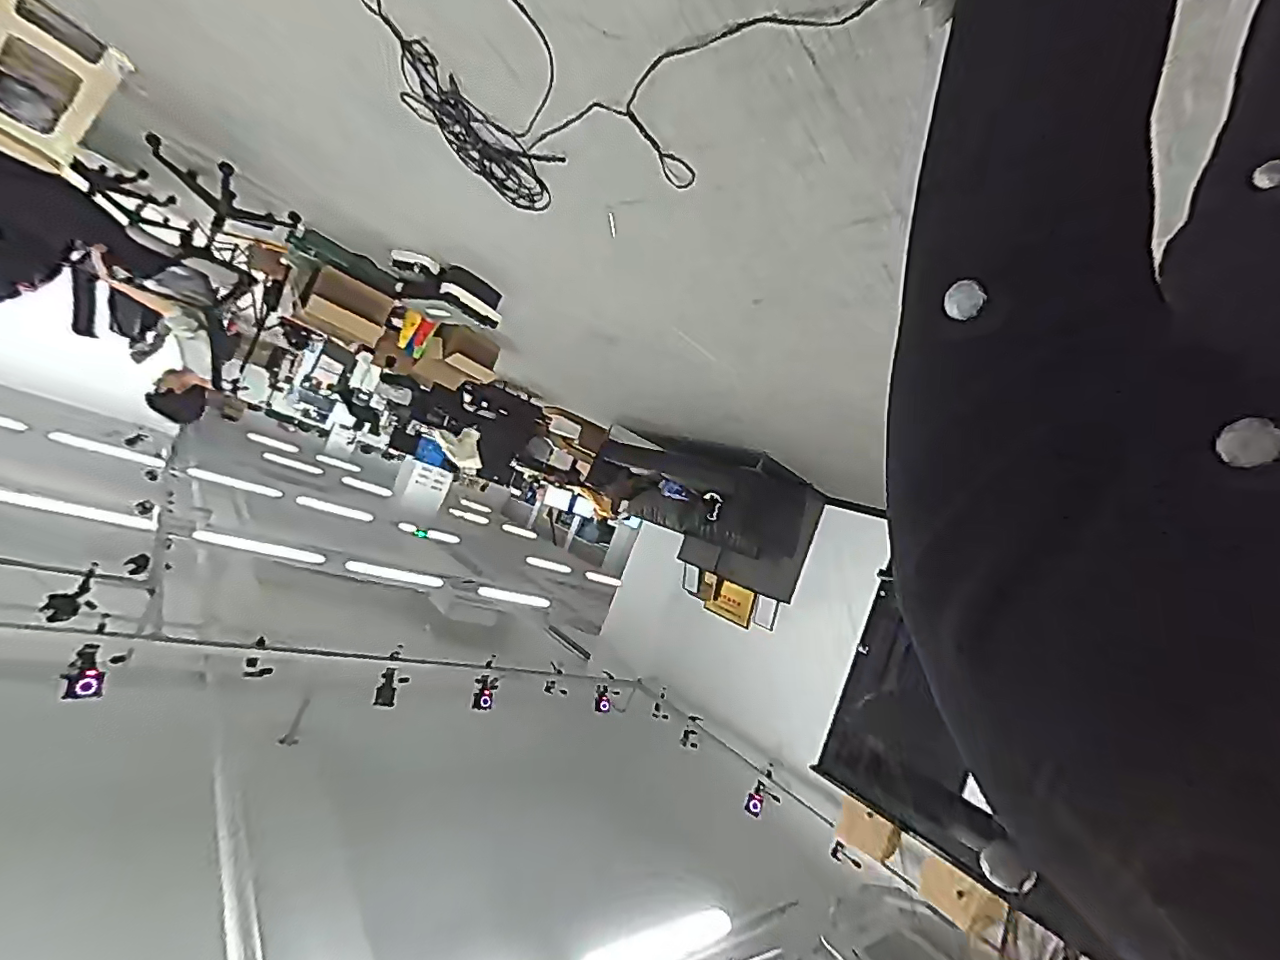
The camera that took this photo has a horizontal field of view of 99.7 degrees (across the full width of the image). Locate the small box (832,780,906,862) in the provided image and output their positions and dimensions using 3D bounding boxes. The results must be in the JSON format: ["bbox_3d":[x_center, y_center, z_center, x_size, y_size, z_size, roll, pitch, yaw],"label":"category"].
[{"bbox_3d":[0.800,1.173,1.875,0.168,0.176,0.179,17,174,43],"label":"small box"}]

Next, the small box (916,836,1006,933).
[{"bbox_3d":[0.983,1.226,1.652,0.179,0.176,0.168,23,176,-36],"label":"small box"}]
